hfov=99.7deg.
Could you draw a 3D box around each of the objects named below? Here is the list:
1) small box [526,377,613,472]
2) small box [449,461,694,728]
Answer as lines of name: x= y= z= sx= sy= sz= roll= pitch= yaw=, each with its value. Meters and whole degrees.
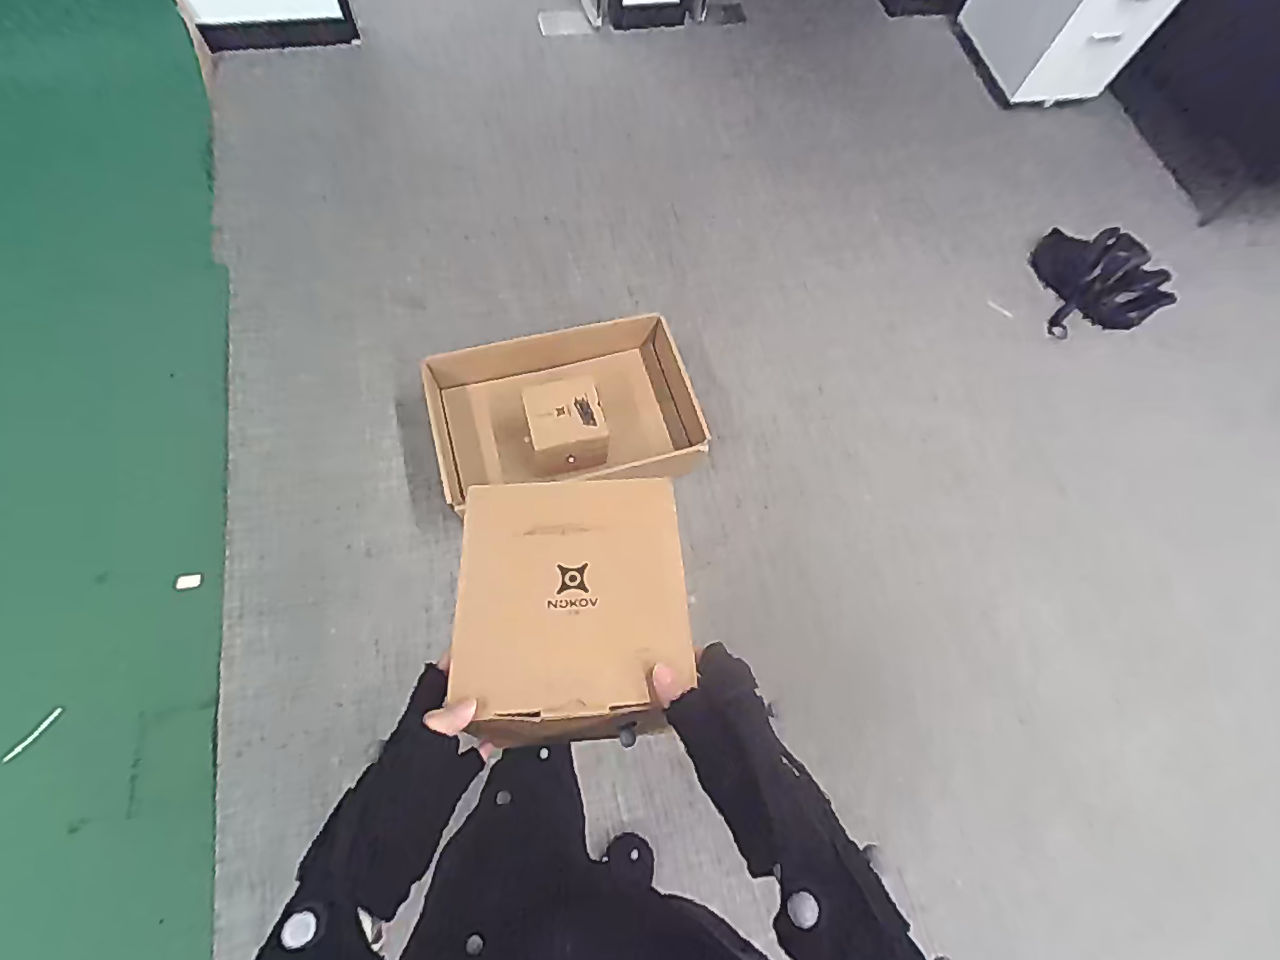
small box: x=-0.170 y=-0.128 z=1.326 sx=0.179 sy=0.176 sz=0.168 roll=-14 pitch=70 yaw=-8
small box: x=-0.055 y=0.107 z=0.462 sx=0.168 sy=0.176 sz=0.179 roll=-6 pitch=60 yaw=-6
